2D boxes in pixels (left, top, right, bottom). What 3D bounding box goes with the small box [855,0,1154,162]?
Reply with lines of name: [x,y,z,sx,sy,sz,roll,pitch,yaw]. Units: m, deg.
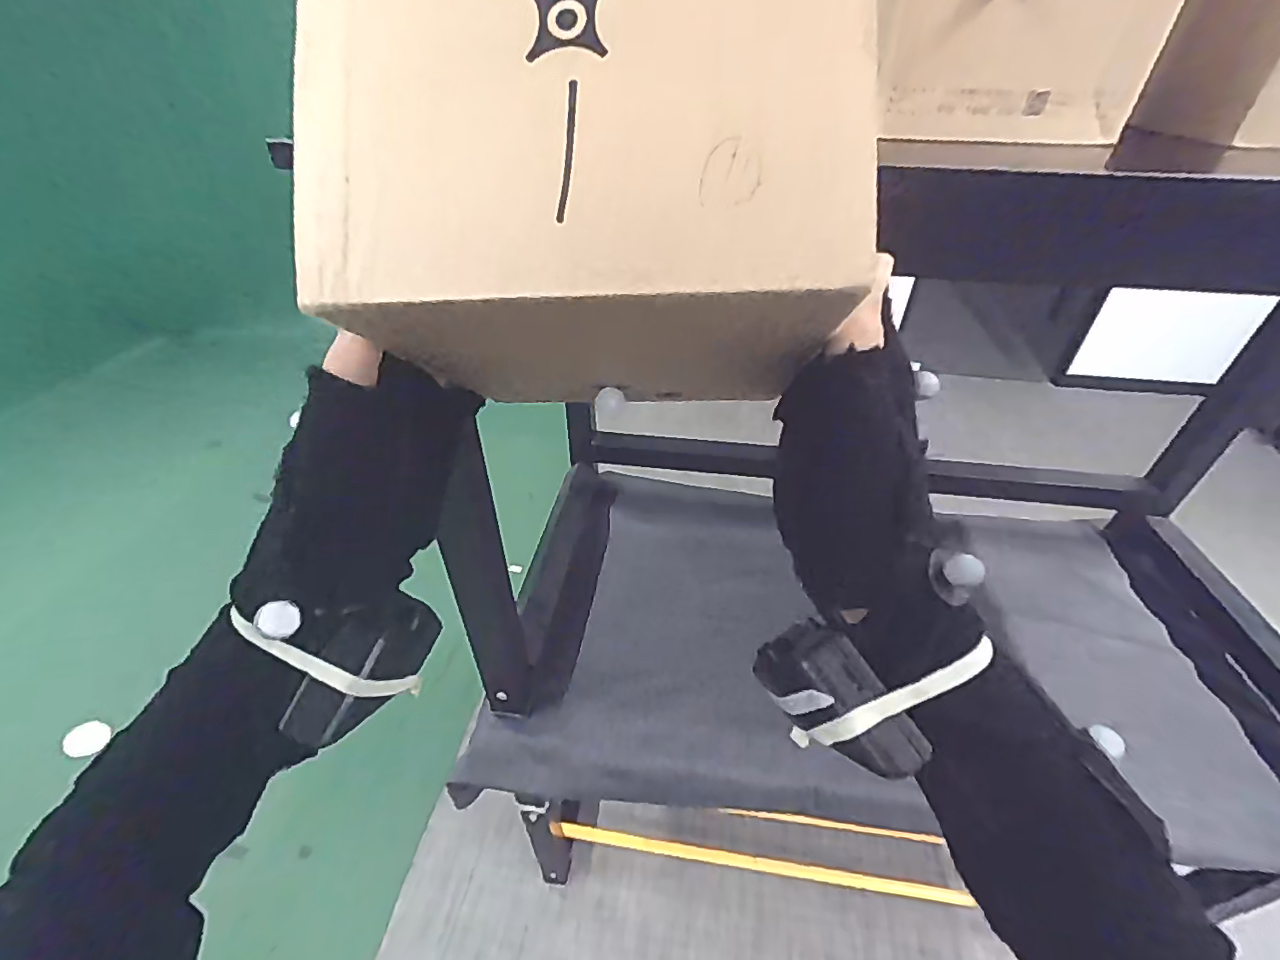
small box: [0.255,-0.348,0.410,0.168,0.176,0.179,6,38,6]

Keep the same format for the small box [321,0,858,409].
small box: [-0.010,-0.134,0.246,0.168,0.179,0.176,0,-2,6]
